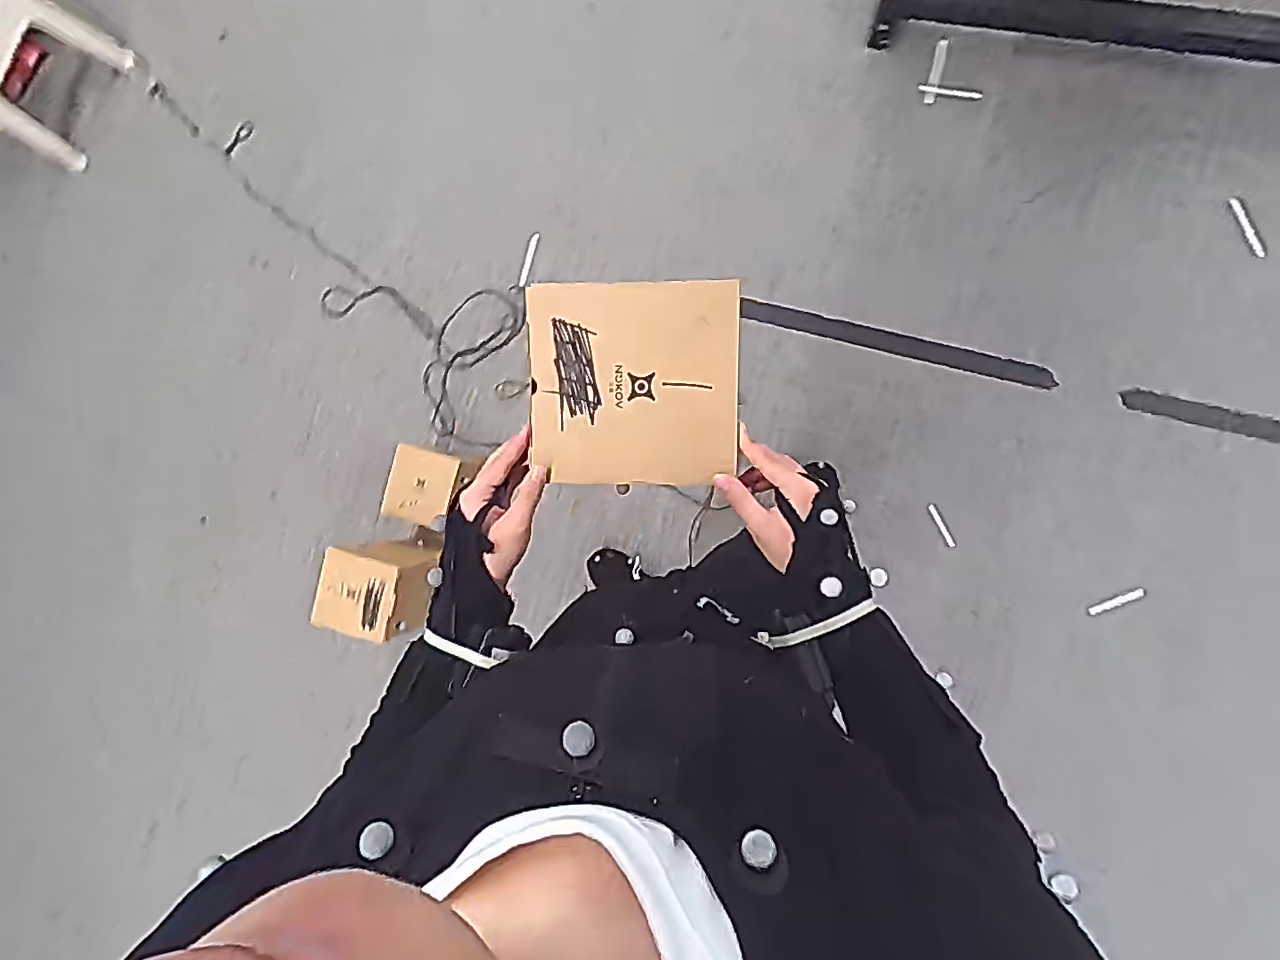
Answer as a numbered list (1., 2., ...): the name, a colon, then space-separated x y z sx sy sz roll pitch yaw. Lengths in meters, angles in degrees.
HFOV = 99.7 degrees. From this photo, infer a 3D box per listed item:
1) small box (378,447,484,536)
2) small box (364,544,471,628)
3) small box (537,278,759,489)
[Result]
1. small box: -0.511 0.027 1.350 0.168 0.176 0.179 17 92 9
2. small box: -0.552 0.257 1.356 0.179 0.176 0.168 8 90 8
3. small box: 0.011 -0.084 0.510 0.179 0.176 0.168 2 96 5
